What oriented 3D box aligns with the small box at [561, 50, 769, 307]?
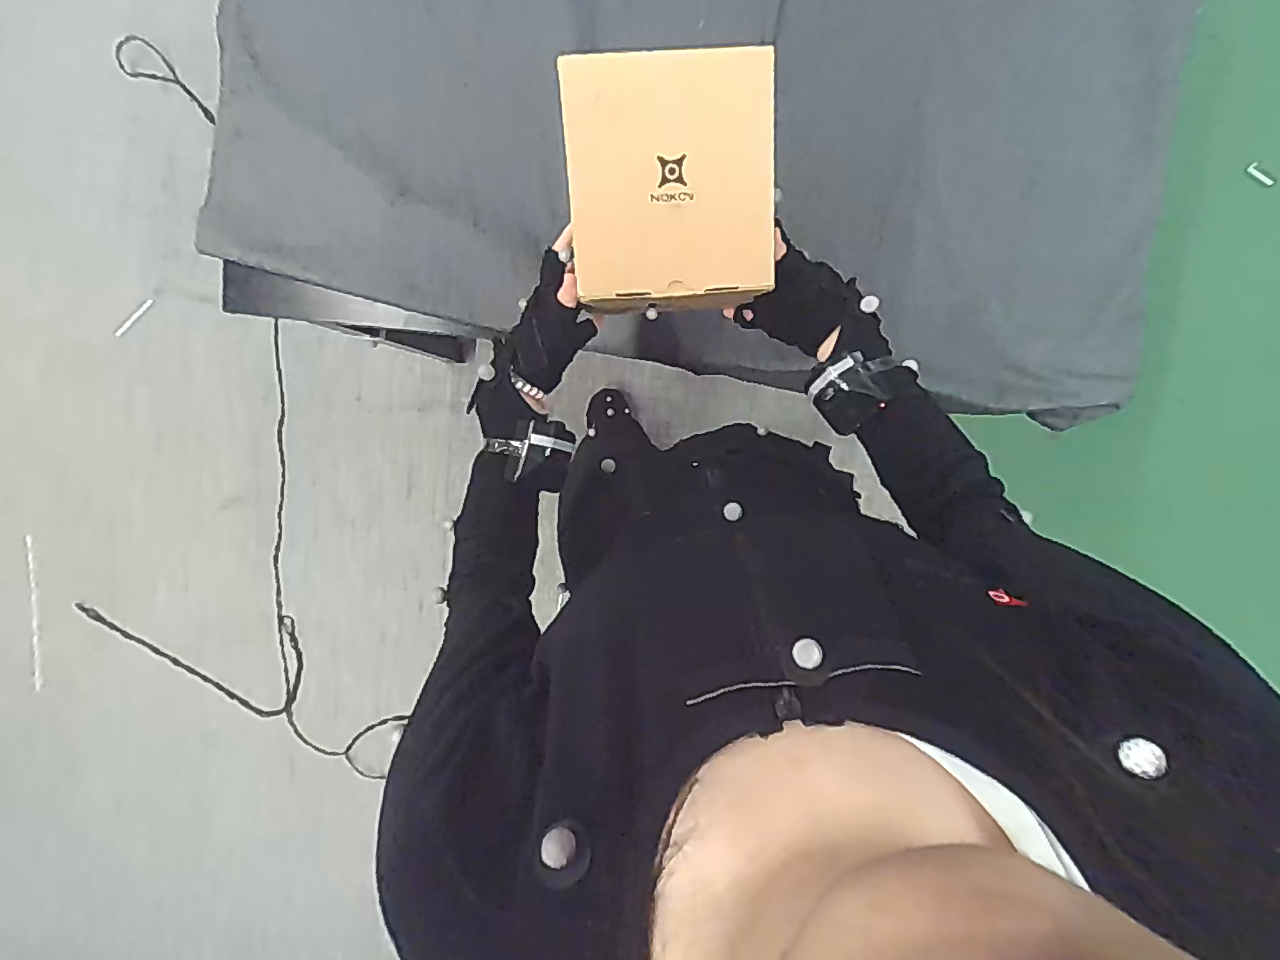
[{"bbox_3d":[0.016,-0.264,0.512,0.168,0.176,0.179,-4,105,-3],"label":"small box"}]
